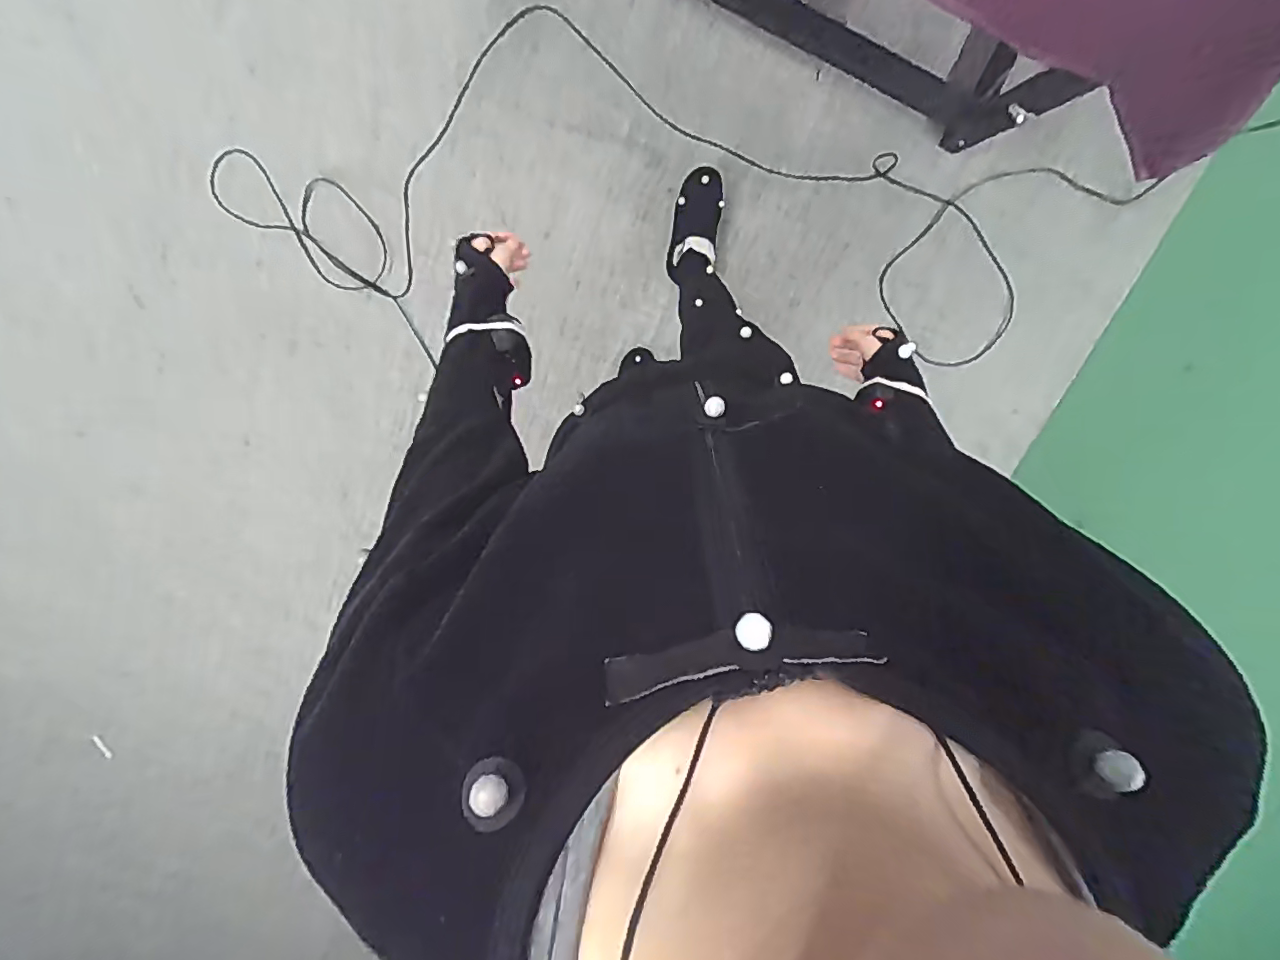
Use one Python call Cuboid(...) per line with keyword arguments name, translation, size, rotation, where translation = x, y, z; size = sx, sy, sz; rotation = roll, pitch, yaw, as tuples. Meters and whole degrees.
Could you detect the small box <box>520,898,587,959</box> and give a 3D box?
Cuboid(name="small box", translation=(-0.265, 1.431, 1.646), size=(0.168, 0.176, 0.179), rotation=(19, 105, -9))
